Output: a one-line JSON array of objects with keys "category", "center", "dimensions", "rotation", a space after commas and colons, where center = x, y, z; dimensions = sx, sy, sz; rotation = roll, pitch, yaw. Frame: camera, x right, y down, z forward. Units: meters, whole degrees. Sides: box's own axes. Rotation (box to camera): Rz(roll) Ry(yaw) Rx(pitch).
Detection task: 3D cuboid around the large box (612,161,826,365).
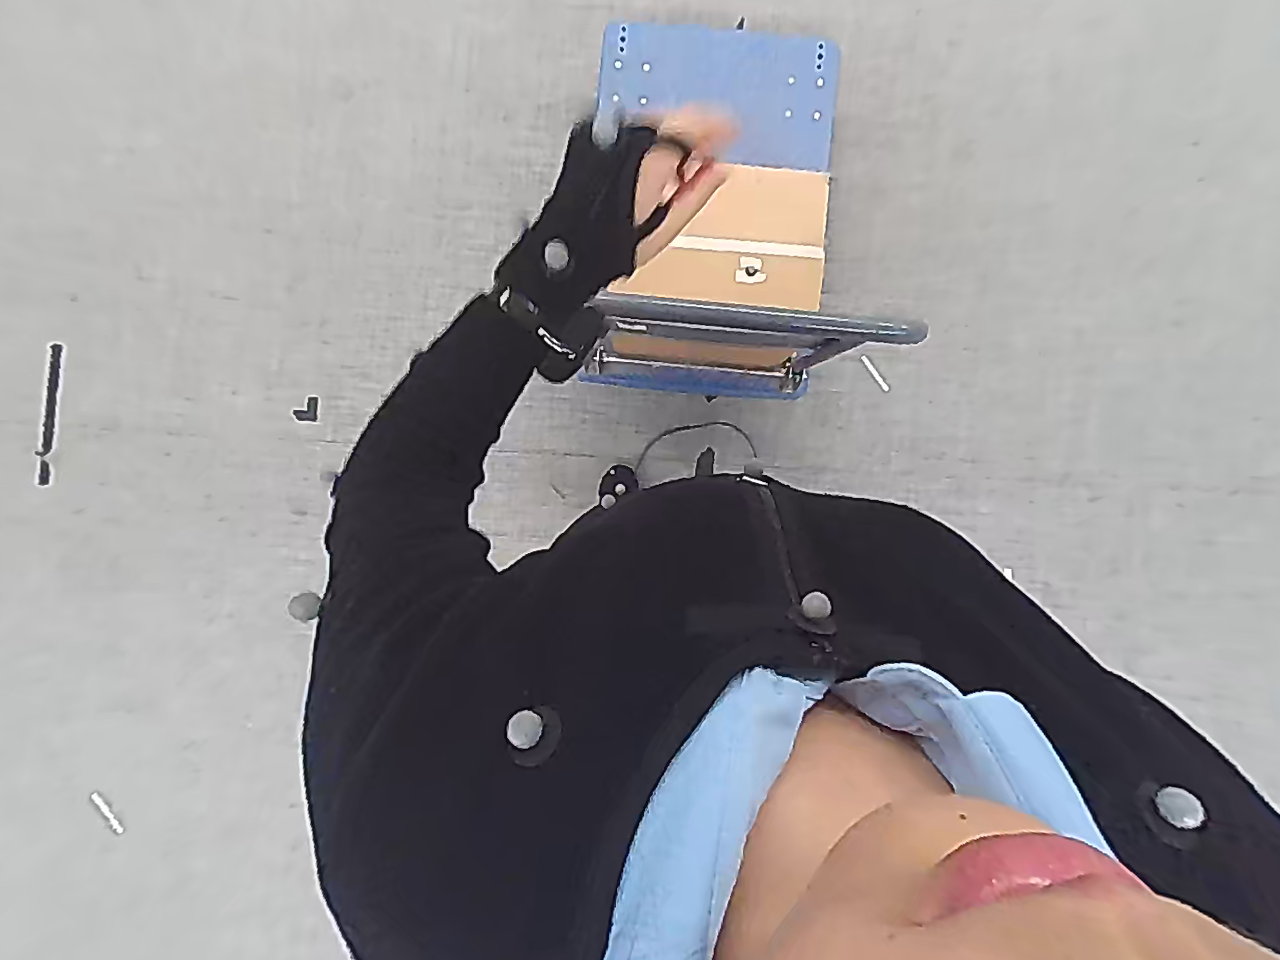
[{"category": "large box", "center": [0.149, -0.447, 1.189], "dimensions": [0.408, 0.320, 0.320], "rotation": [5, 91, -1]}]
